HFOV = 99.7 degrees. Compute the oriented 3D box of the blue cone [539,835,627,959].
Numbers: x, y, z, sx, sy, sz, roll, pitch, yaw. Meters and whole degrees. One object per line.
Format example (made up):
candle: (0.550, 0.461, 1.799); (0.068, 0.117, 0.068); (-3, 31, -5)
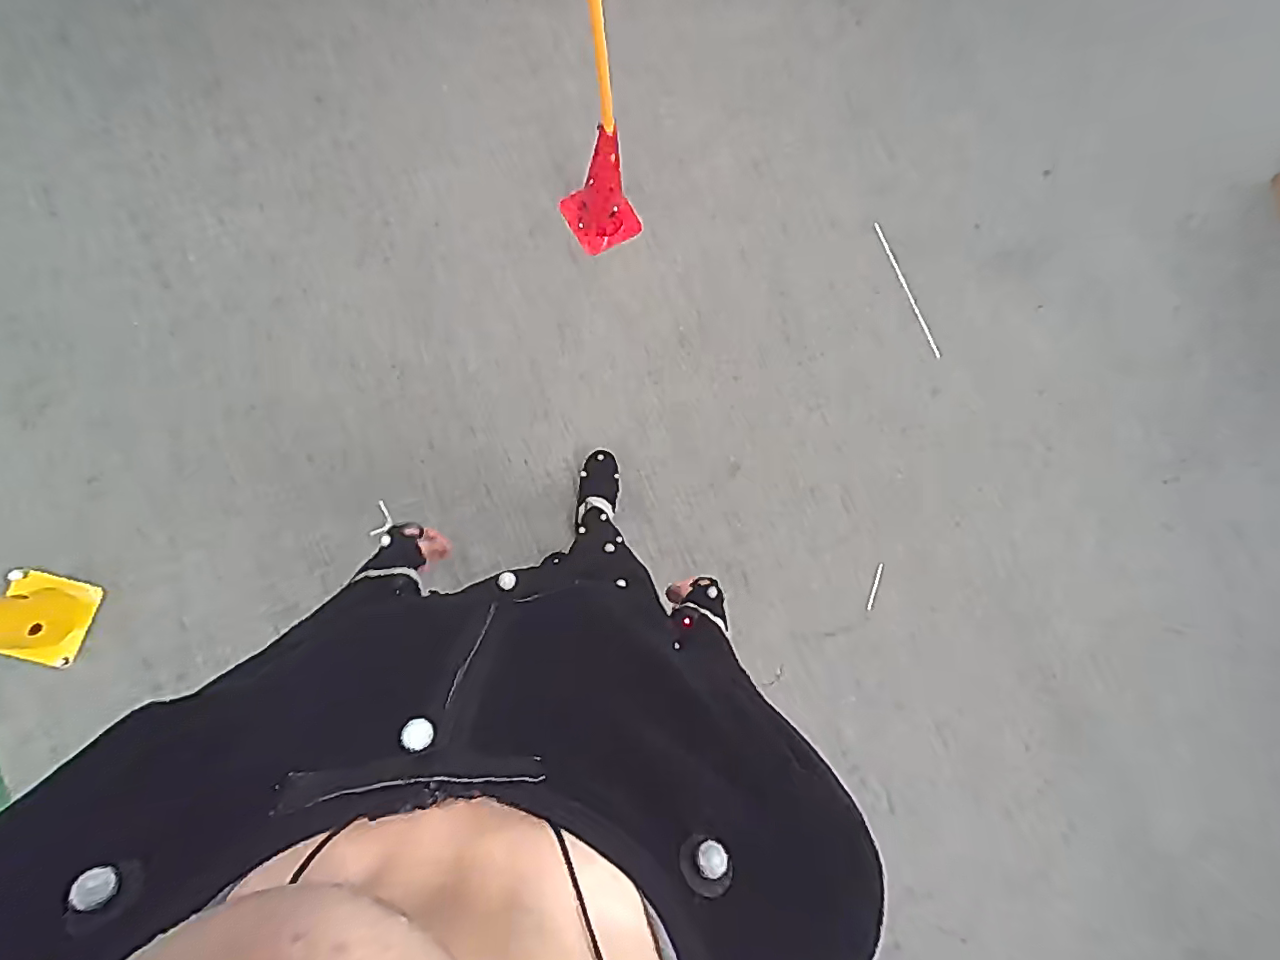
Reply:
blue cone: (-0.112, 1.011, 1.235); (0.193, 0.380, 0.192); (27, 79, -7)
